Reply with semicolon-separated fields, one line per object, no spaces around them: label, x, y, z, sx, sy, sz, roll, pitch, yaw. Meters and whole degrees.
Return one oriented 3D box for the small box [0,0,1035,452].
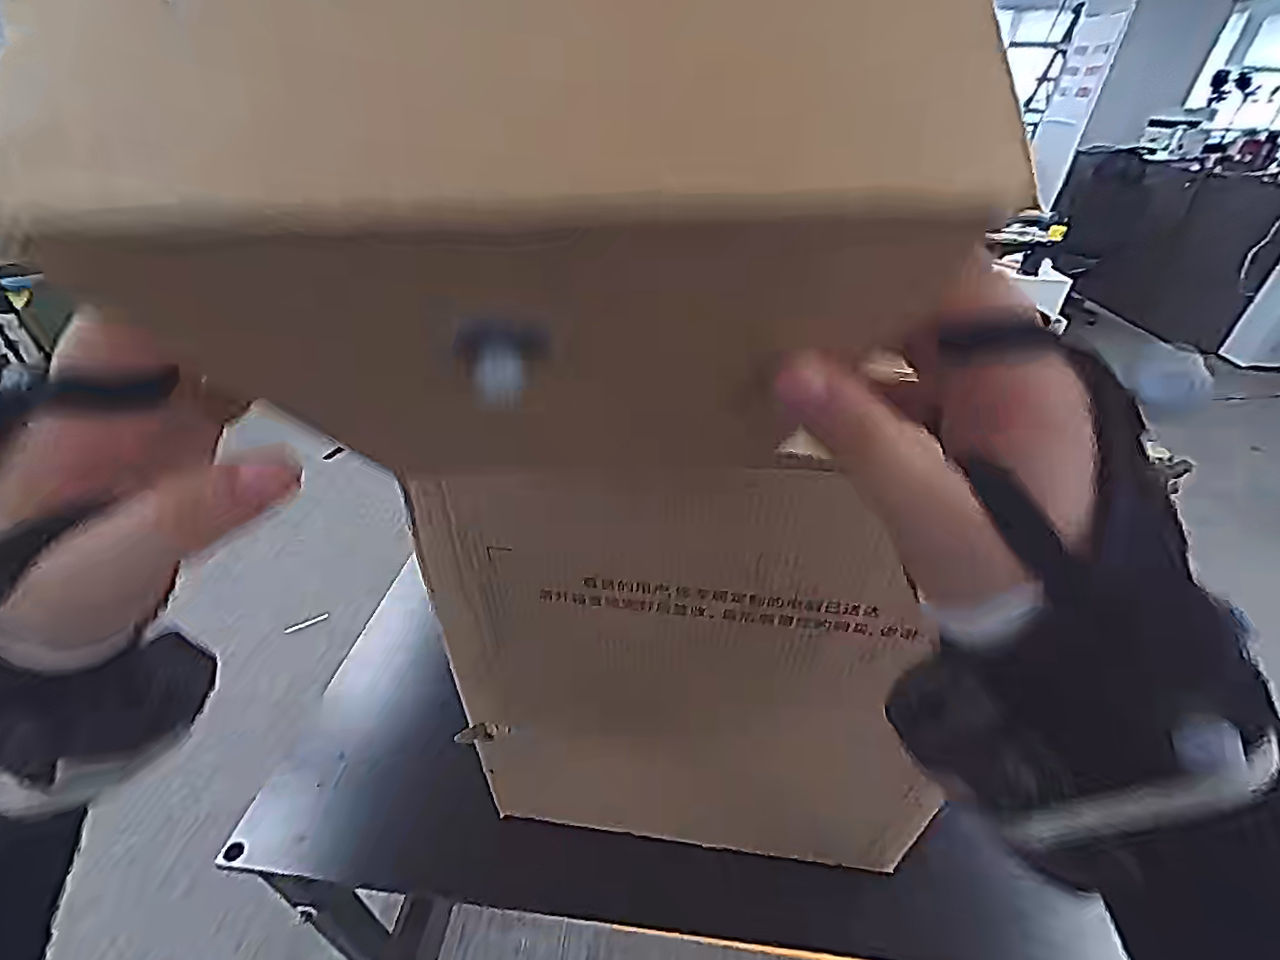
small box;-0.025;-0.112;0.186;0.179;0.176;0.168;-4;77;-4
